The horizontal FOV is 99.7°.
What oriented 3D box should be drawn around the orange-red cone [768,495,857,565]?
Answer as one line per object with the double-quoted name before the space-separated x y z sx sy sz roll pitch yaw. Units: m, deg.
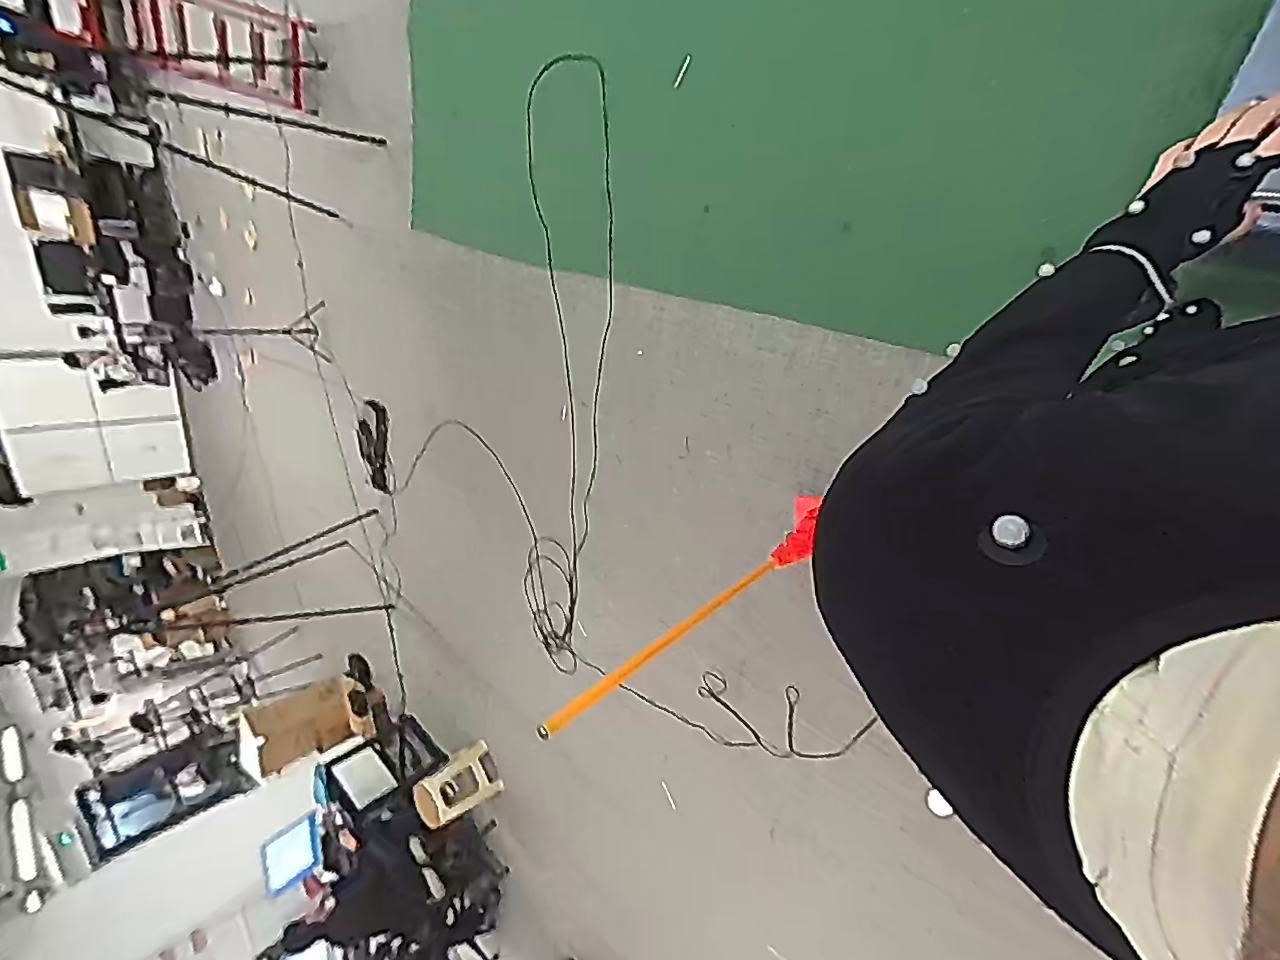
"orange-red cone" 0.488 0.188 1.640 0.199 0.360 0.198 10 108 41
